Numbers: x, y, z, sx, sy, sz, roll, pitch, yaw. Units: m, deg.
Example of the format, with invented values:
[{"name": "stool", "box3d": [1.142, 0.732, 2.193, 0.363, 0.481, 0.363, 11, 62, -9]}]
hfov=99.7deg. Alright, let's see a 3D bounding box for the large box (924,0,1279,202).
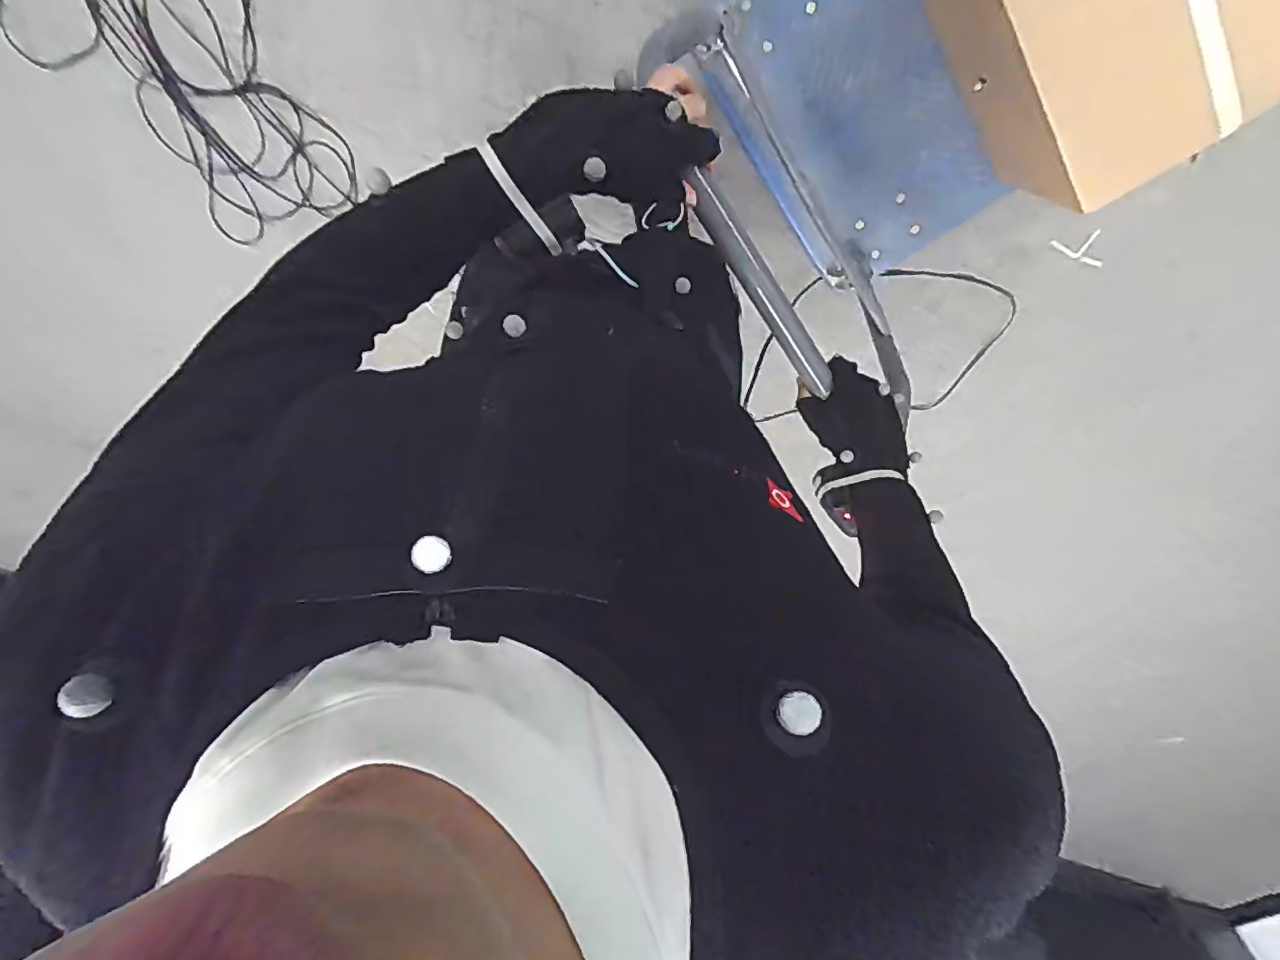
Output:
[{"name": "large box", "box3d": [0.628, -0.673, 0.731, 0.320, 0.320, 0.408, -31, 115, 29]}]
